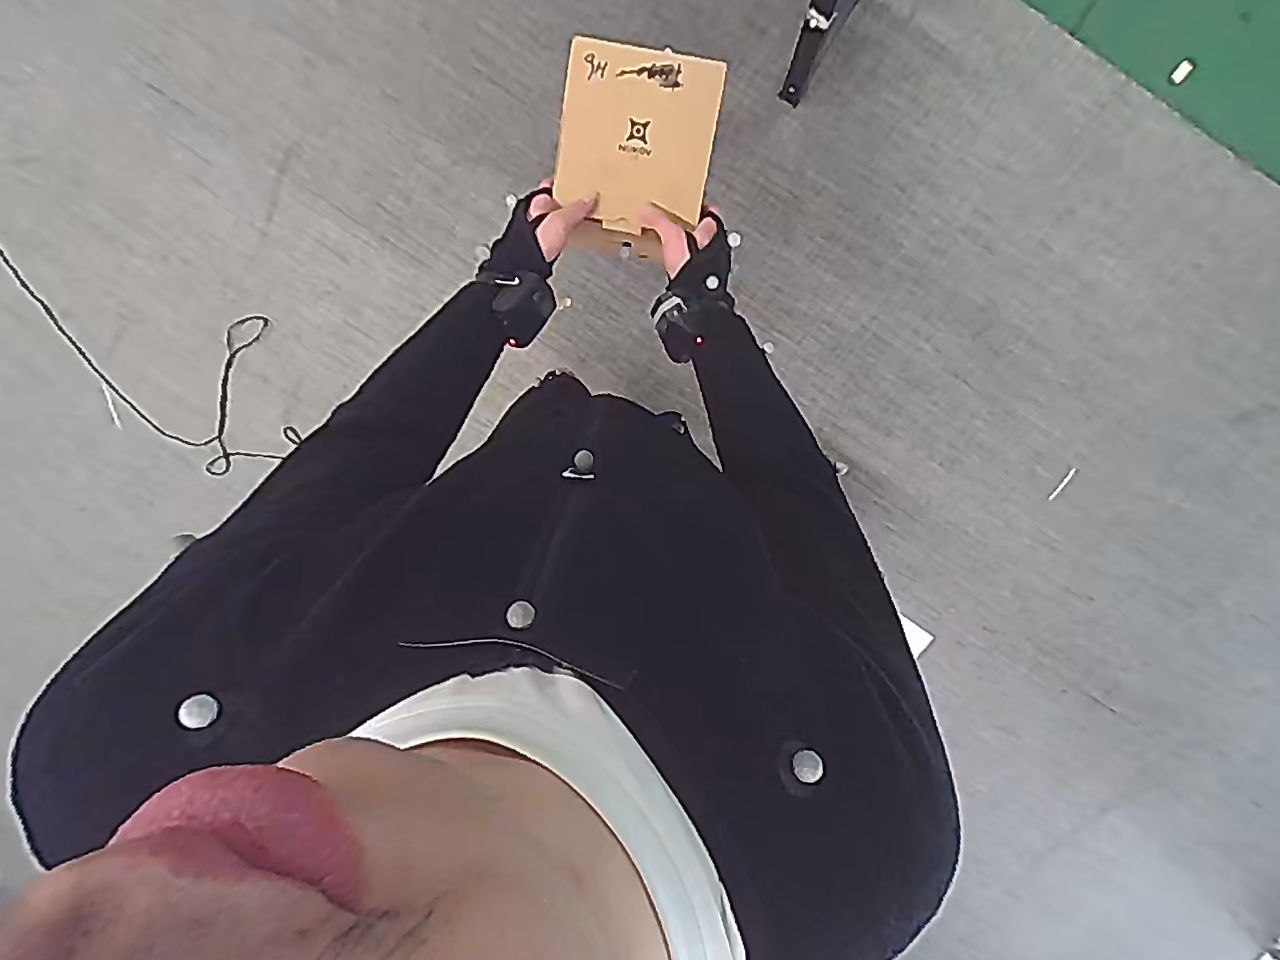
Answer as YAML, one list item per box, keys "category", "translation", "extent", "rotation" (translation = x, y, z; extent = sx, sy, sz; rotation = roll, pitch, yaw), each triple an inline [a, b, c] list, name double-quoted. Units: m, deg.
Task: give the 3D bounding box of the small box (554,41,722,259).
- category: "small box"
  translation: [-0.001, -0.383, 0.662]
  extent: [0.168, 0.176, 0.179]
  rotation: [8, 101, 1]
